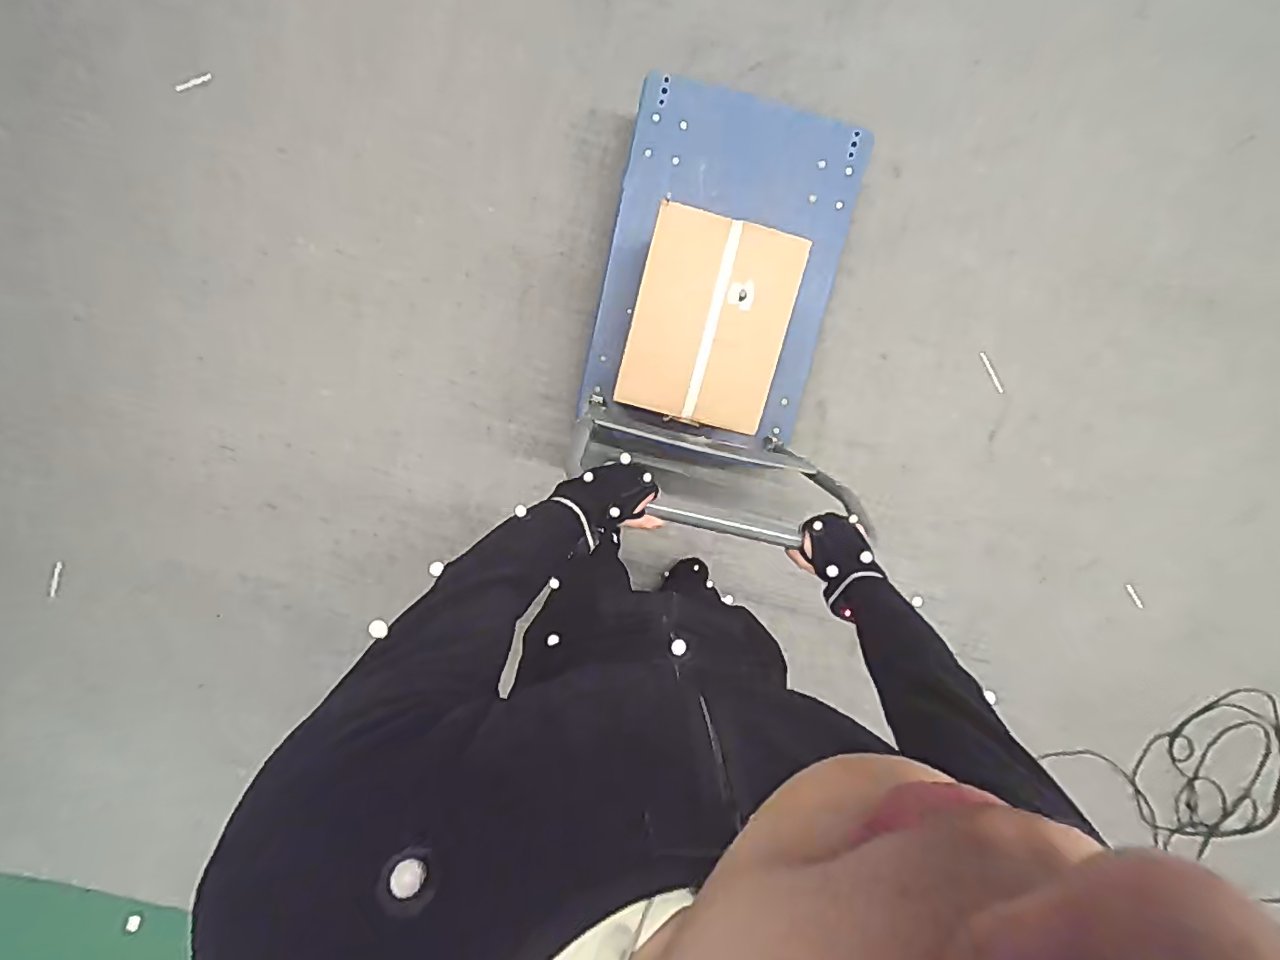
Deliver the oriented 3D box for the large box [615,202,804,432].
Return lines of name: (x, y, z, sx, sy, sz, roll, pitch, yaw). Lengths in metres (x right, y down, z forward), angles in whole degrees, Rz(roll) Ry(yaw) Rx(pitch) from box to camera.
large box: (0.133, -0.346, 1.244, 0.320, 0.320, 0.408, 13, 99, -5)
